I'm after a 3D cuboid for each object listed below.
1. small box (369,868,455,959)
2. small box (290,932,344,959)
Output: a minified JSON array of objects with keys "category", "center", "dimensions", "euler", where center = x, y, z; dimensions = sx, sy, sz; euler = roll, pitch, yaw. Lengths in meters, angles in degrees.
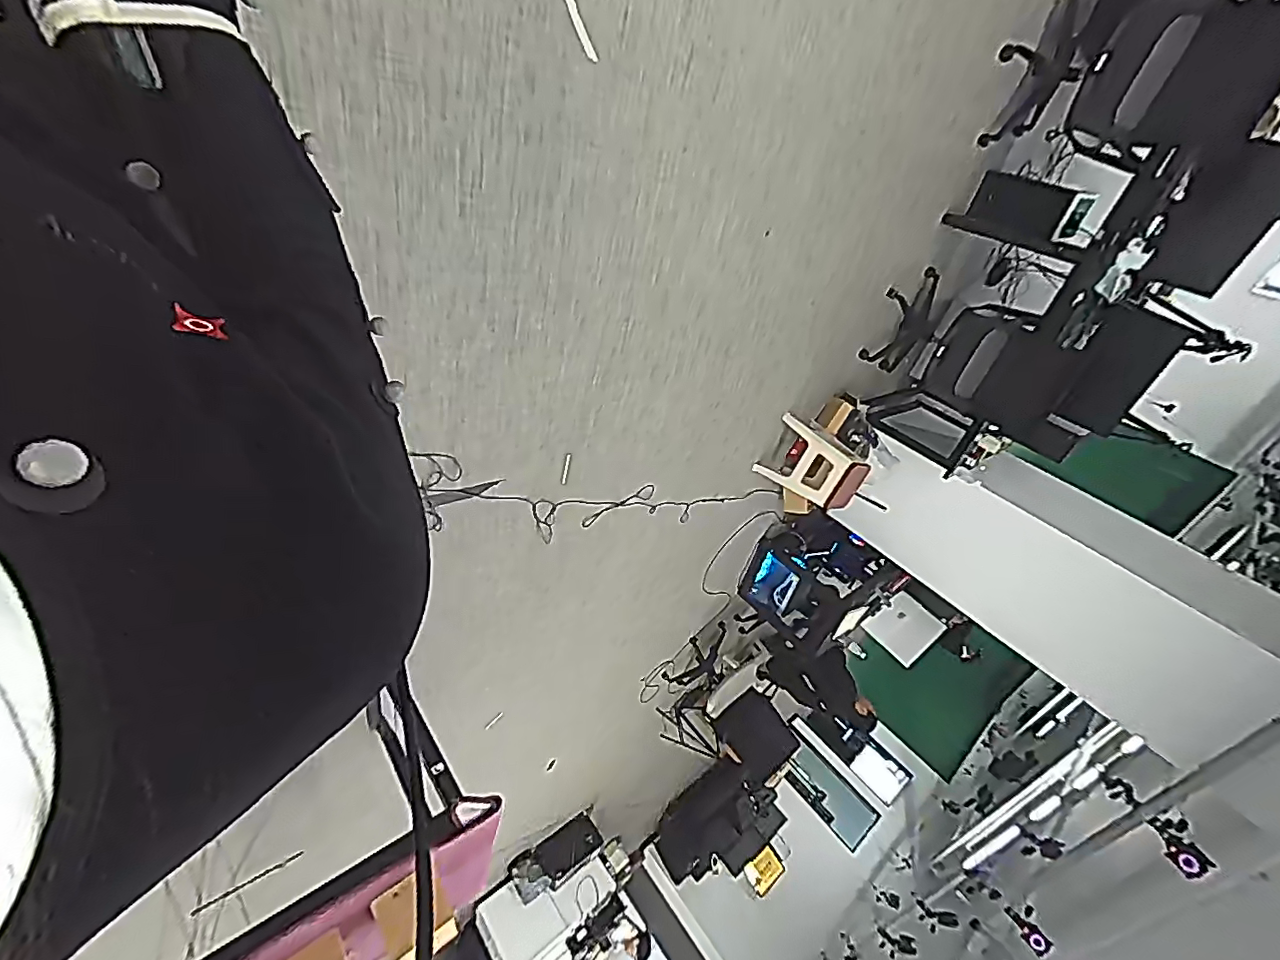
[{"category":"small box","center":[-0.633,1.228,1.500],"dimensions":[0.168,0.176,0.179],"euler":[-22,138,-34]},{"category":"small box","center":[-0.824,1.286,1.338],"dimensions":[0.179,0.176,0.168],"euler":[-19,137,-37]}]
